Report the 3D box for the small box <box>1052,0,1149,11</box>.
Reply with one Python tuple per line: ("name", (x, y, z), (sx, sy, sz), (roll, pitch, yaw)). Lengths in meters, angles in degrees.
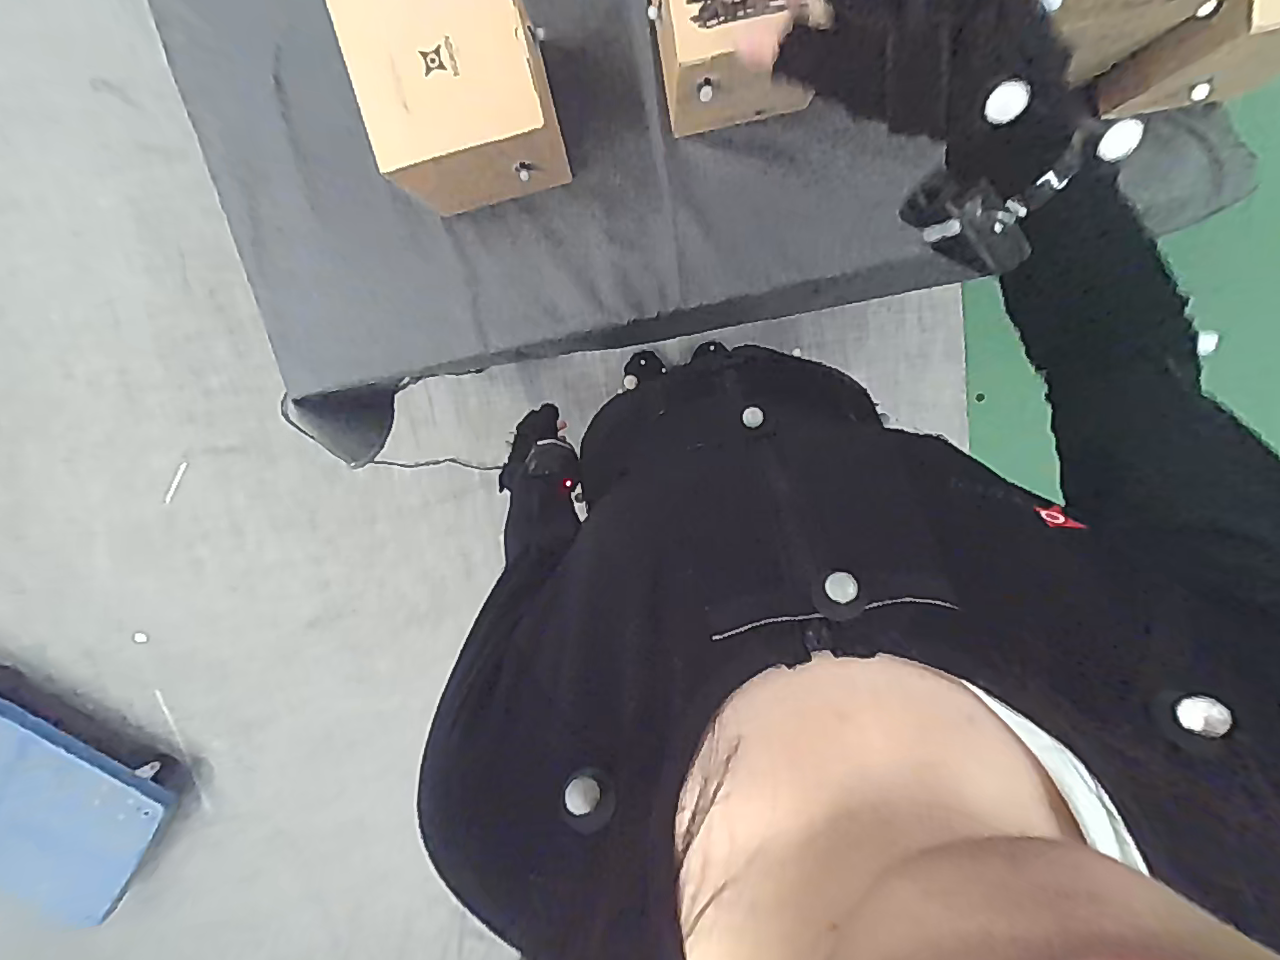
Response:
("small box", (0.427, -0.487, 0.391), (0.168, 0.176, 0.179), (-7, 102, 3))
